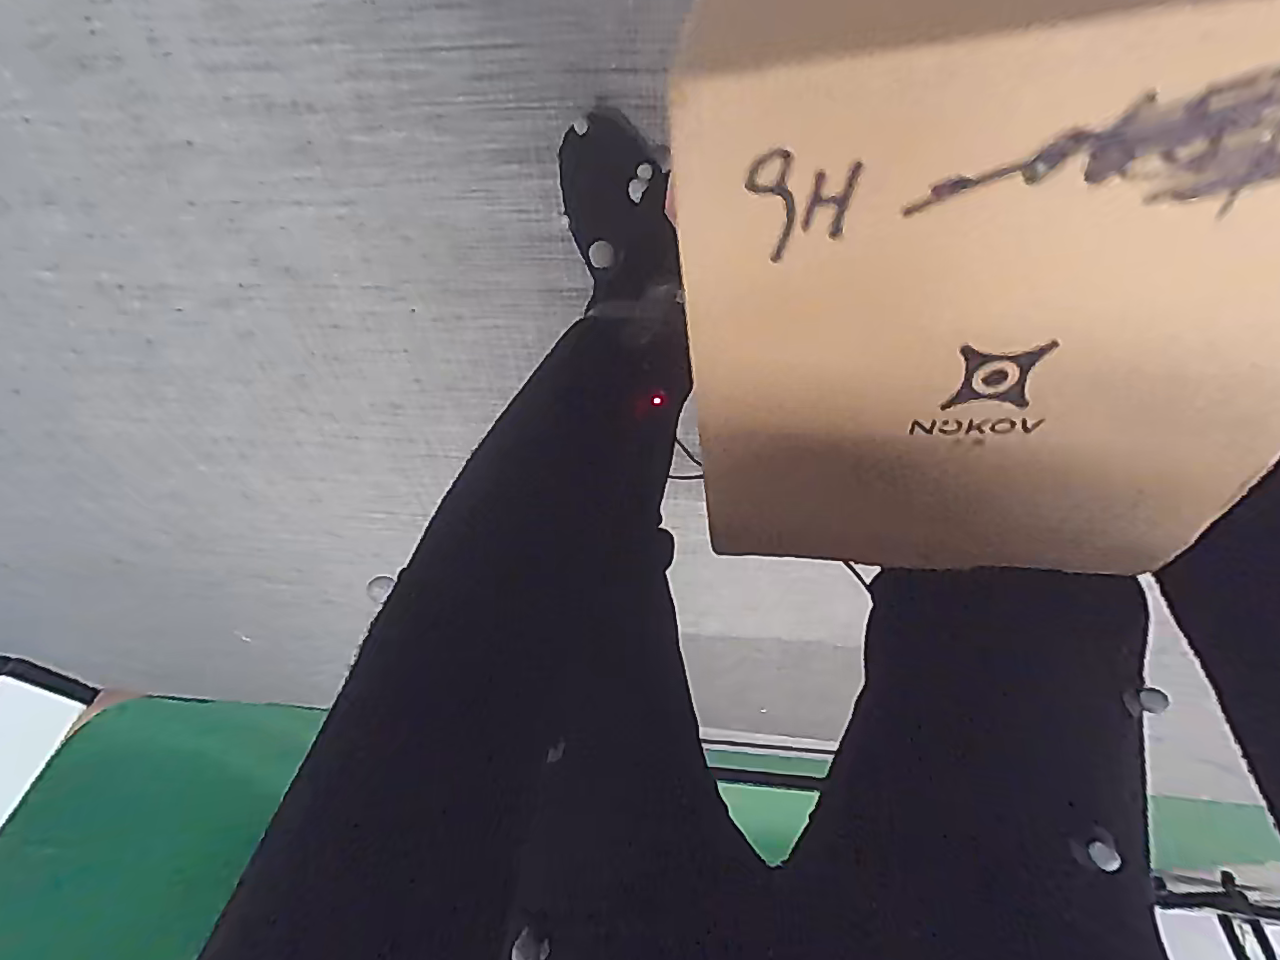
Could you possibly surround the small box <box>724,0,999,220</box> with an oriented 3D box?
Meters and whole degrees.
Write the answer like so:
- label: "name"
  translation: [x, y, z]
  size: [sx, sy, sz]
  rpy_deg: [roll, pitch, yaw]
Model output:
- label: "small box"
  translation: [0.154, -0.331, 0.412]
  size: [0.168, 0.176, 0.179]
  rpy_deg: [-1, 139, 16]
